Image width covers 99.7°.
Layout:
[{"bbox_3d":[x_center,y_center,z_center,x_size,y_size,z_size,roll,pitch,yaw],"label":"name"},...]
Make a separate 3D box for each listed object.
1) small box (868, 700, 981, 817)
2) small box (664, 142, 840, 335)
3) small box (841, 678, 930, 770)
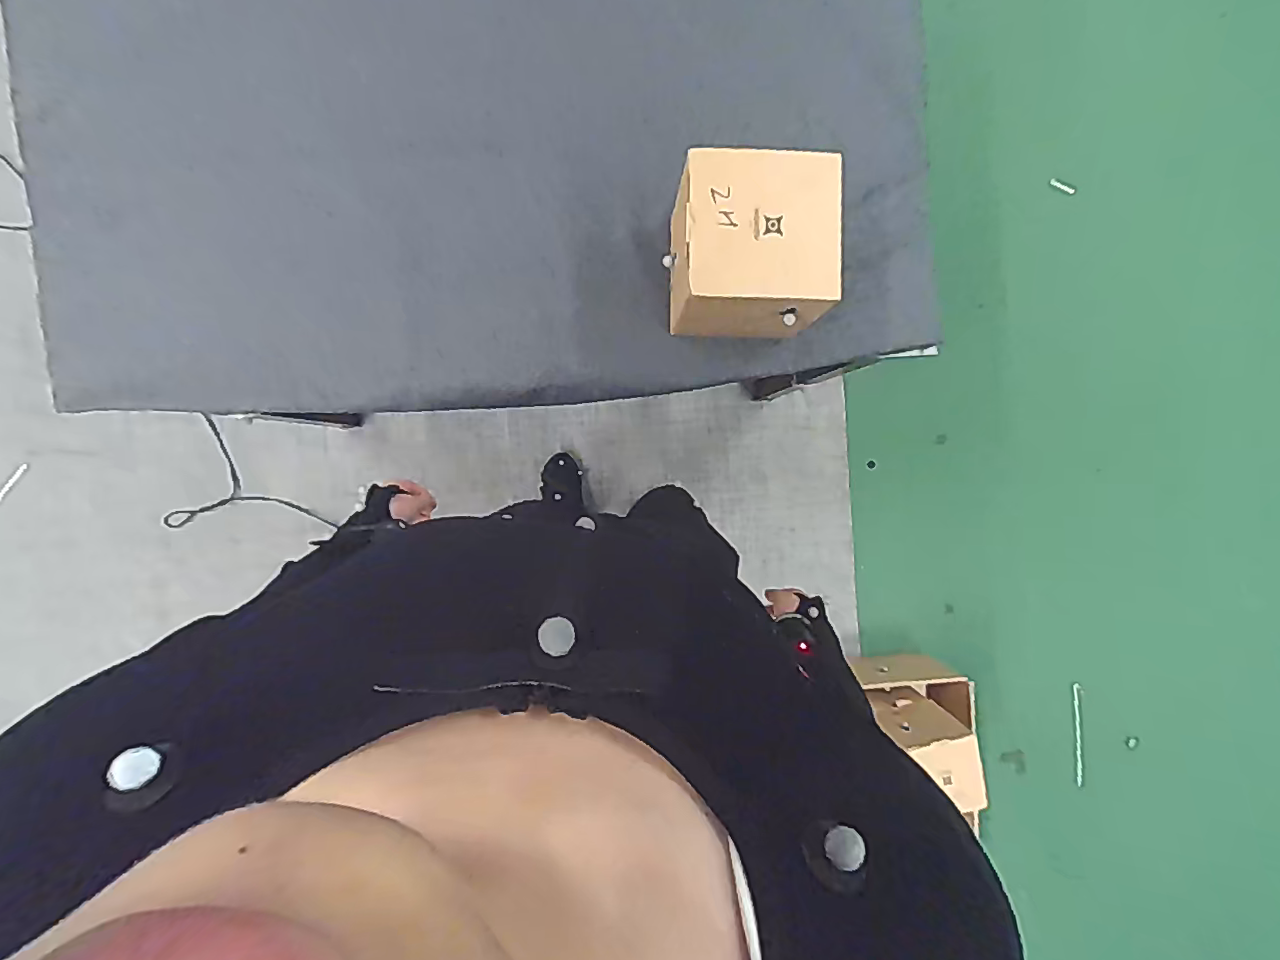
[{"bbox_3d":[0.661,0.644,1.277,0.168,0.176,0.179,-12,96,-2],"label":"small box"},{"bbox_3d":[0.127,-0.283,0.670,0.179,0.176,0.168,0,90,-4],"label":"small box"},{"bbox_3d":[0.650,0.640,1.441,0.168,0.176,0.179,-2,92,-3],"label":"small box"}]
